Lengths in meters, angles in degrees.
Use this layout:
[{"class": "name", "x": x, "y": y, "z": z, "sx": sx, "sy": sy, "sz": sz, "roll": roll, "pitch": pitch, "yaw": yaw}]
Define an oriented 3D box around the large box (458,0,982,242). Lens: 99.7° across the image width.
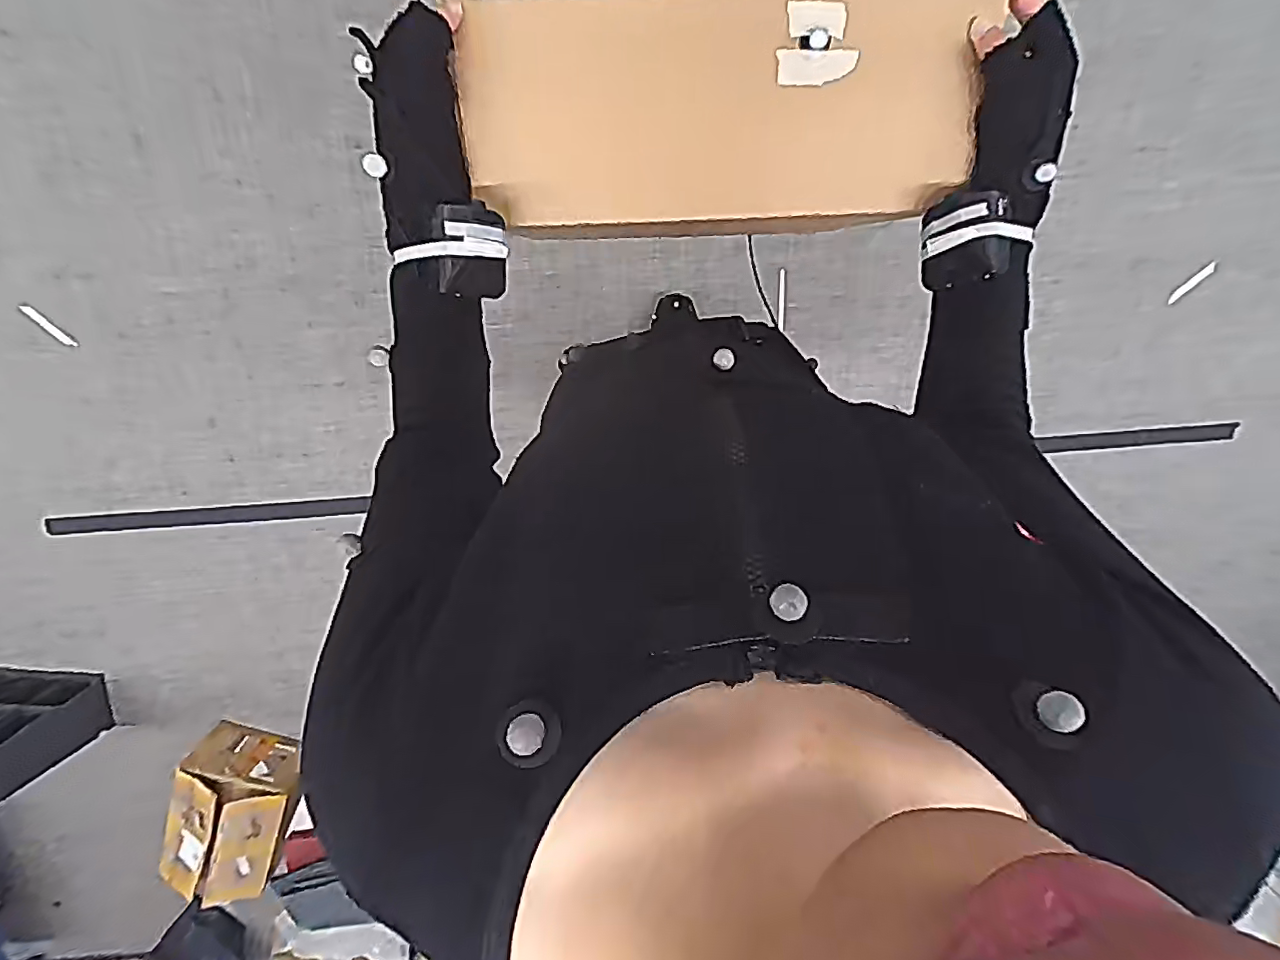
[{"class": "large box", "x": 0.054, "y": -0.422, "z": 0.540, "sx": 0.408, "sy": 0.320, "sz": 0.320, "roll": -3, "pitch": 113, "yaw": -1}]
